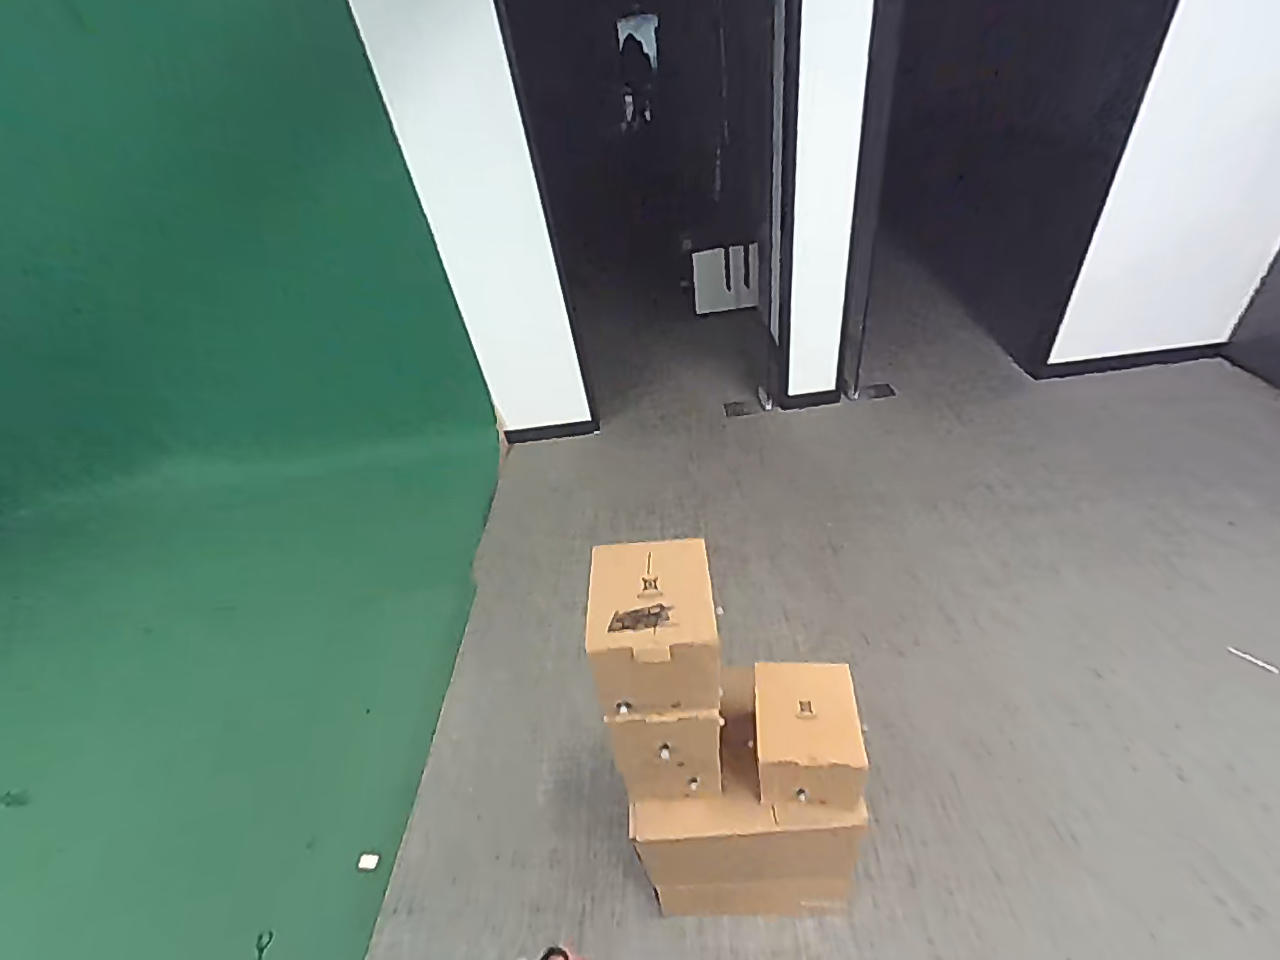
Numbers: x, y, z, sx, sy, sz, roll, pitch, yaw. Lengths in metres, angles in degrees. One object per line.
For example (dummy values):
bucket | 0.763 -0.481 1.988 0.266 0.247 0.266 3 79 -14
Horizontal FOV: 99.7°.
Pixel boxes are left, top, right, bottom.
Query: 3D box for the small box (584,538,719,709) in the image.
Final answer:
small box | 0.021 0.208 0.768 0.168 0.176 0.179 -5 39 3

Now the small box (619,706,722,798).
small box | 0.059 0.457 0.979 0.168 0.176 0.179 -4 39 5

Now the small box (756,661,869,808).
small box | 0.290 0.440 0.944 0.168 0.176 0.179 -3 39 11

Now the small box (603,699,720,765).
small box | 0.037 0.339 0.867 0.168 0.176 0.179 -5 40 3
